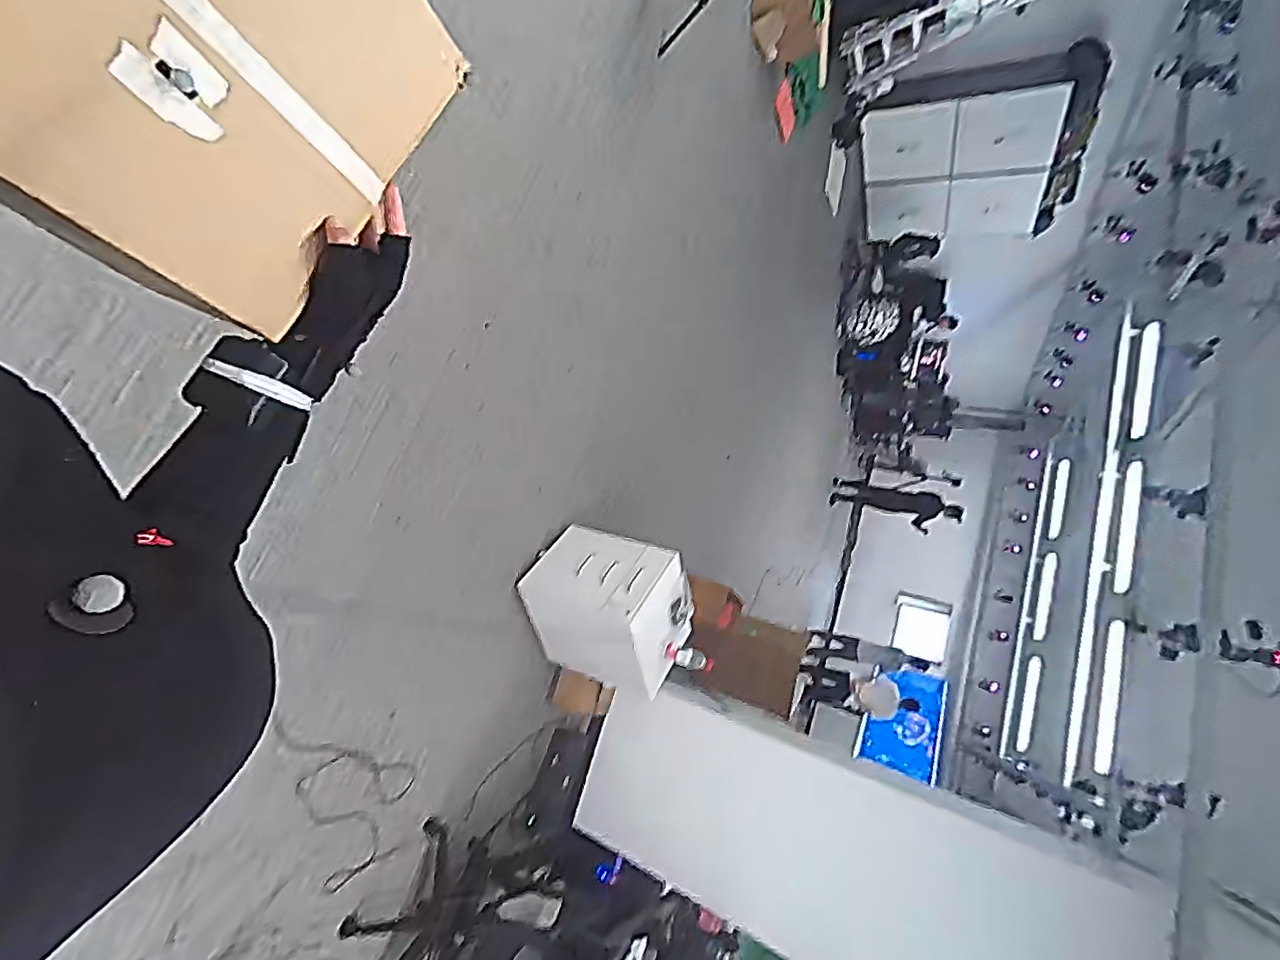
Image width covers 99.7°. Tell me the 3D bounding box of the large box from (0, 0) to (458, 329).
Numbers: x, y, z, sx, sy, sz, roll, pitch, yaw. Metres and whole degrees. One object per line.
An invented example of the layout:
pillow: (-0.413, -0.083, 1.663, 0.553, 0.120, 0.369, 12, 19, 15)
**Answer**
large box: (-0.437, -0.376, 0.396, 0.320, 0.320, 0.408, -62, 148, -10)
